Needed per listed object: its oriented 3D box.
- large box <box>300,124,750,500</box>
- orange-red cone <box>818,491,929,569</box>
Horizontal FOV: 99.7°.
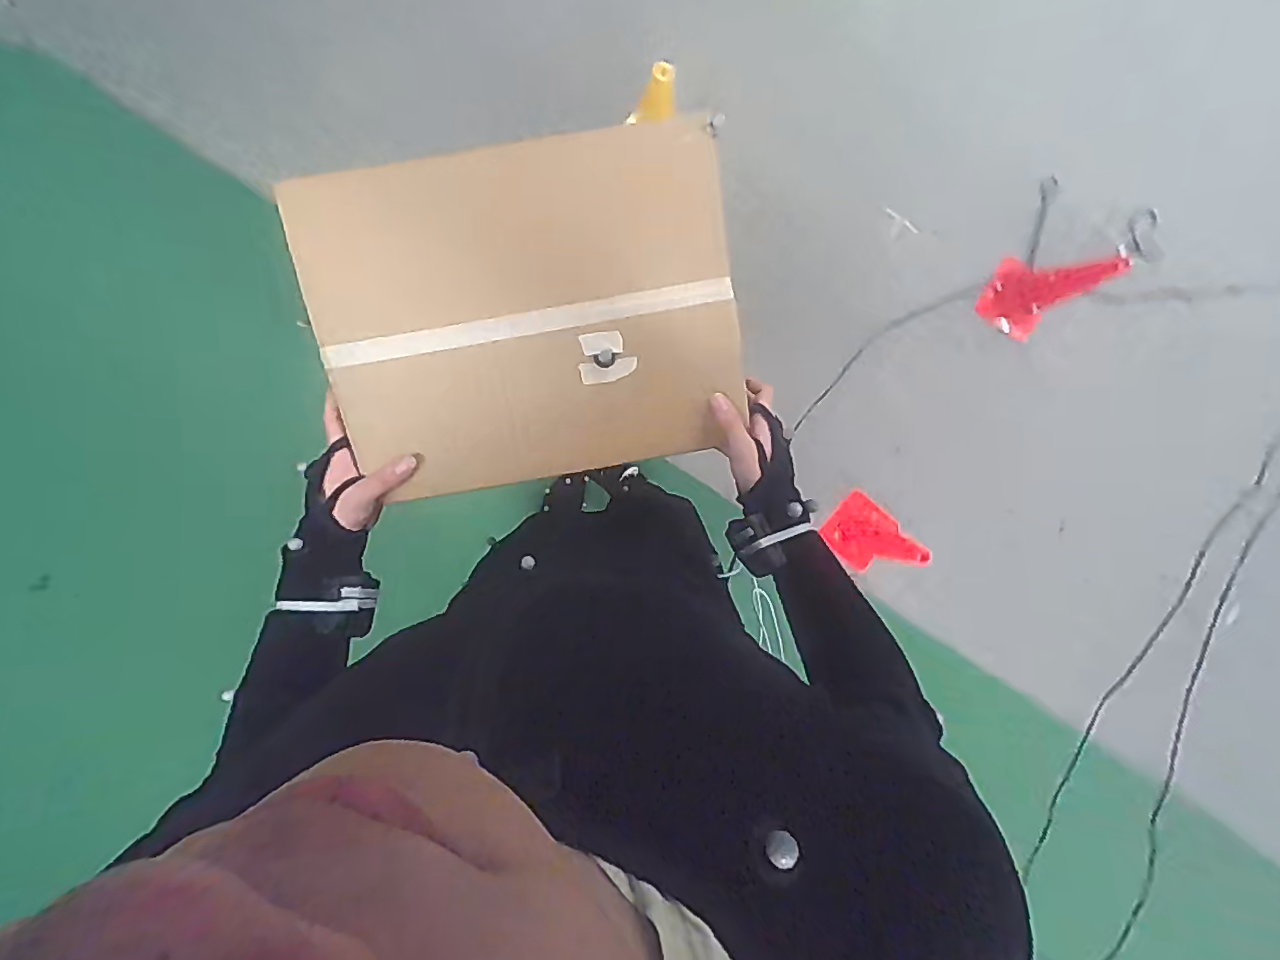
[{"bbox_3d":[-0.111,-0.190,0.684,0.408,0.320,0.320,-9,104,-2],"label":"large box"},{"bbox_3d":[0.697,0.177,1.533,0.199,0.360,0.198,40,92,-8],"label":"orange-red cone"}]
